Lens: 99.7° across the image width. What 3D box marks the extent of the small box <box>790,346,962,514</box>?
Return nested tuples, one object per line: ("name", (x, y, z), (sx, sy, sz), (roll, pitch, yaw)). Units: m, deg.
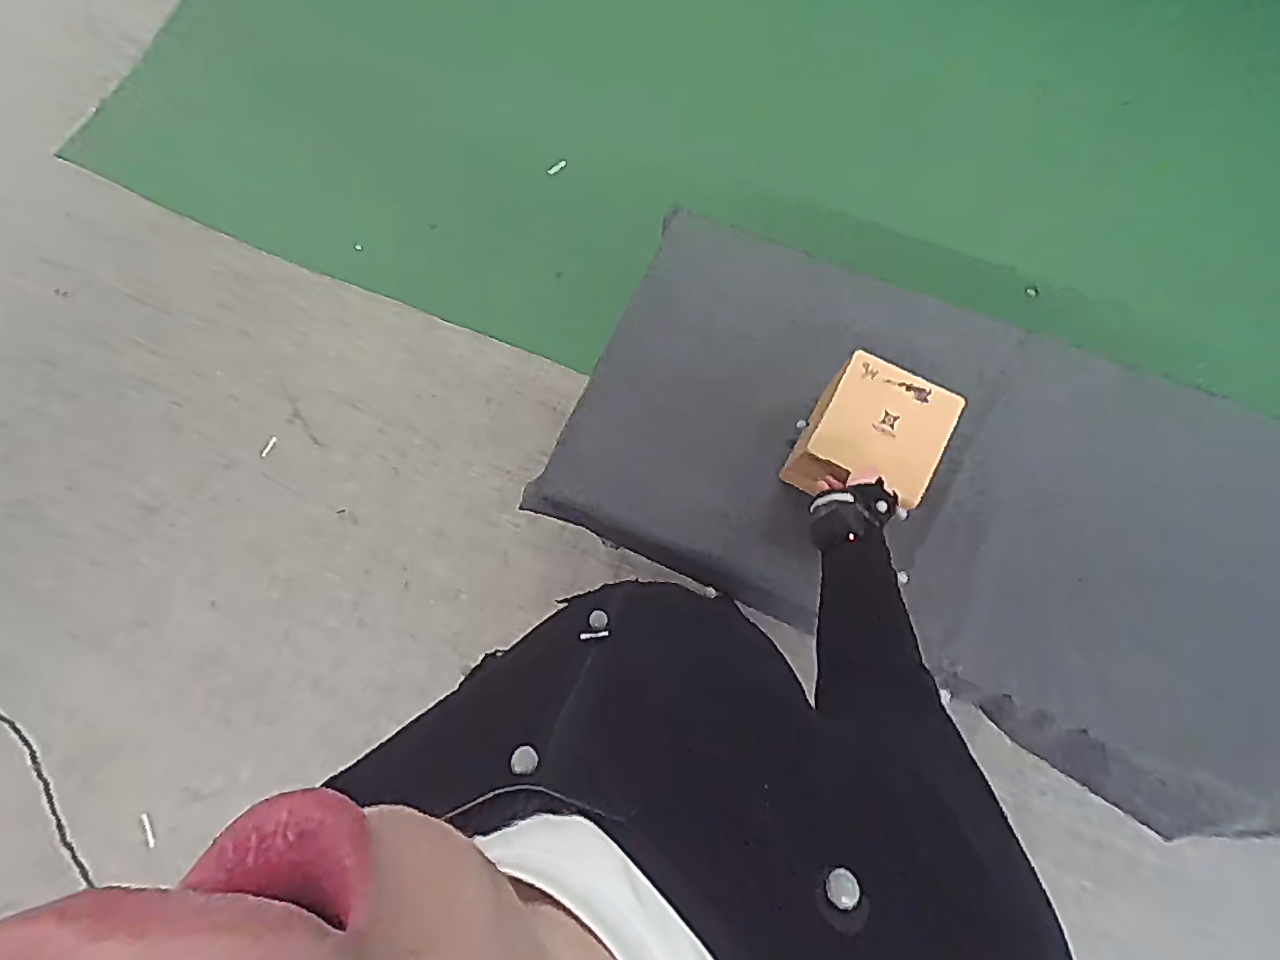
("small box", (0.344, -0.066, 0.826), (0.168, 0.176, 0.179), (26, 79, 9))
